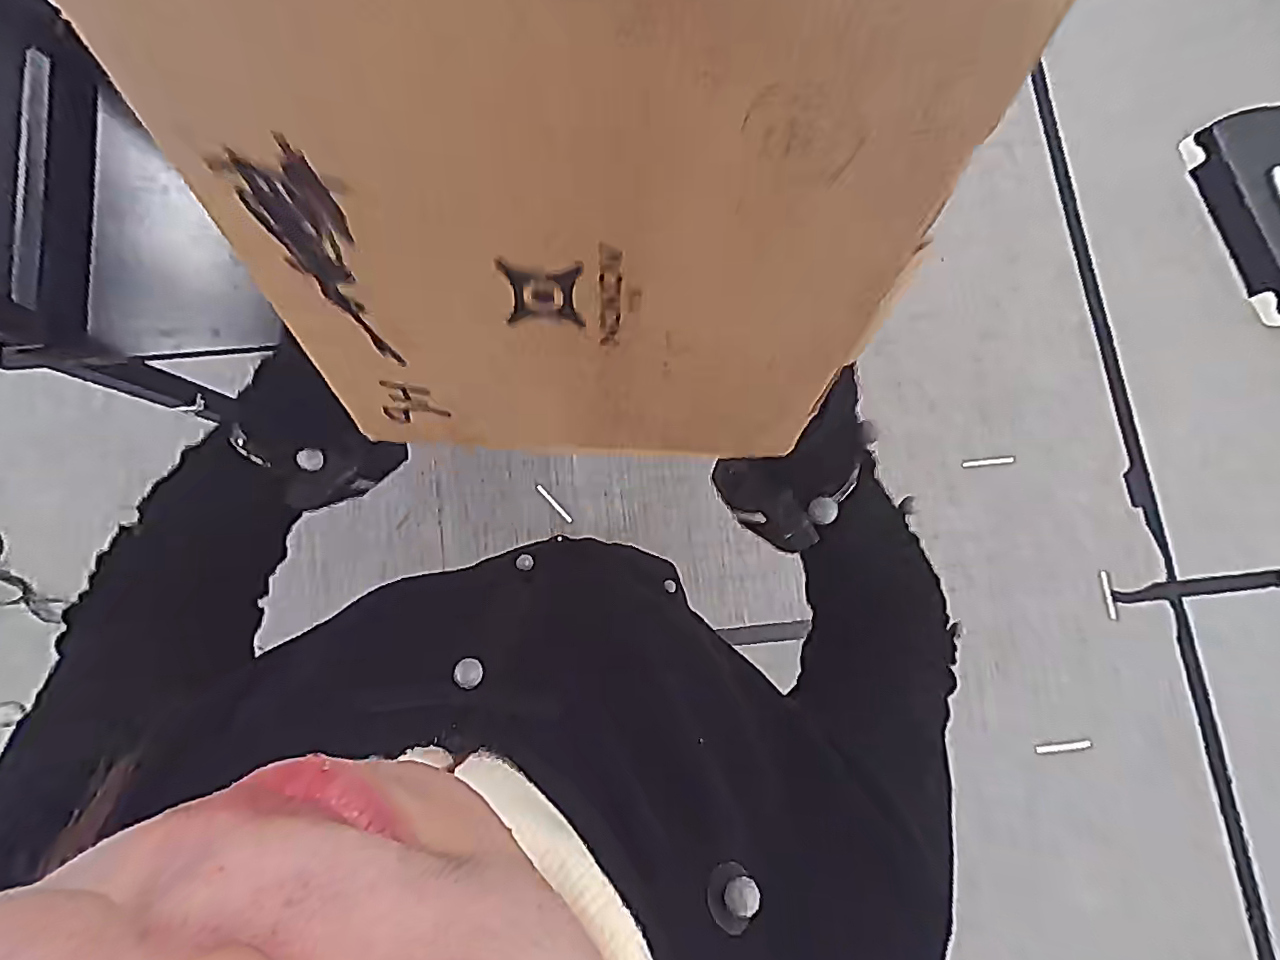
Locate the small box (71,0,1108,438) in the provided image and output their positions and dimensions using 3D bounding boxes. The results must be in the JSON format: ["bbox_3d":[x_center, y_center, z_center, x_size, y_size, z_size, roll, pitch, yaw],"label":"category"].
[{"bbox_3d":[-0.012,-0.128,0.173,0.179,0.168,0.176,2,62,-3],"label":"small box"}]
